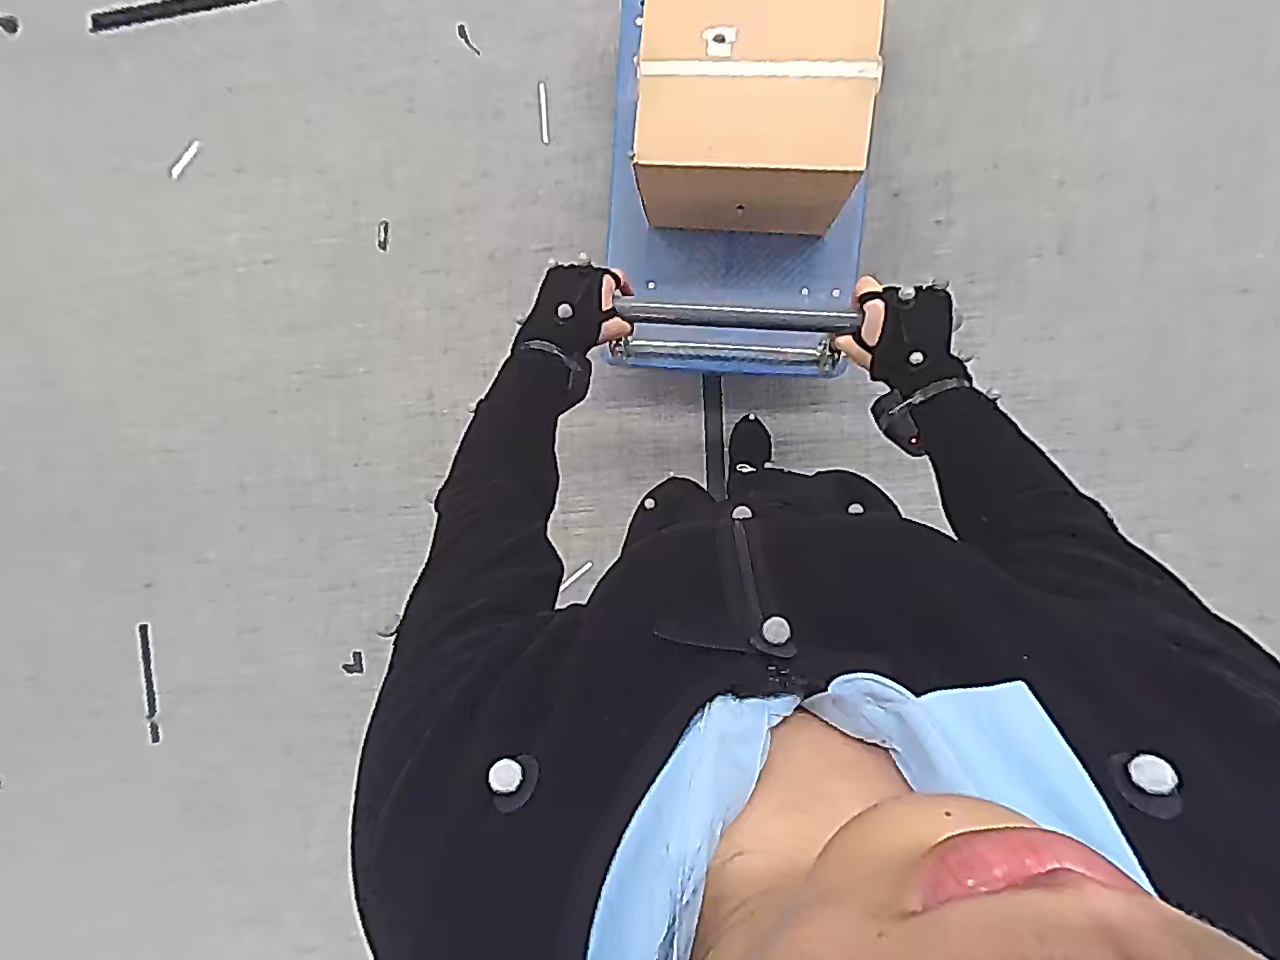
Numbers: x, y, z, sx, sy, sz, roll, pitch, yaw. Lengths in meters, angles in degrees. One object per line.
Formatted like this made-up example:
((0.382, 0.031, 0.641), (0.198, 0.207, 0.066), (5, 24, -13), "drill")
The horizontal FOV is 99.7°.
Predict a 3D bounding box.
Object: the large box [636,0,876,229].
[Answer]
((0.218, -0.721, 1.096), (0.408, 0.320, 0.320), (5, 95, 7), "large box")
